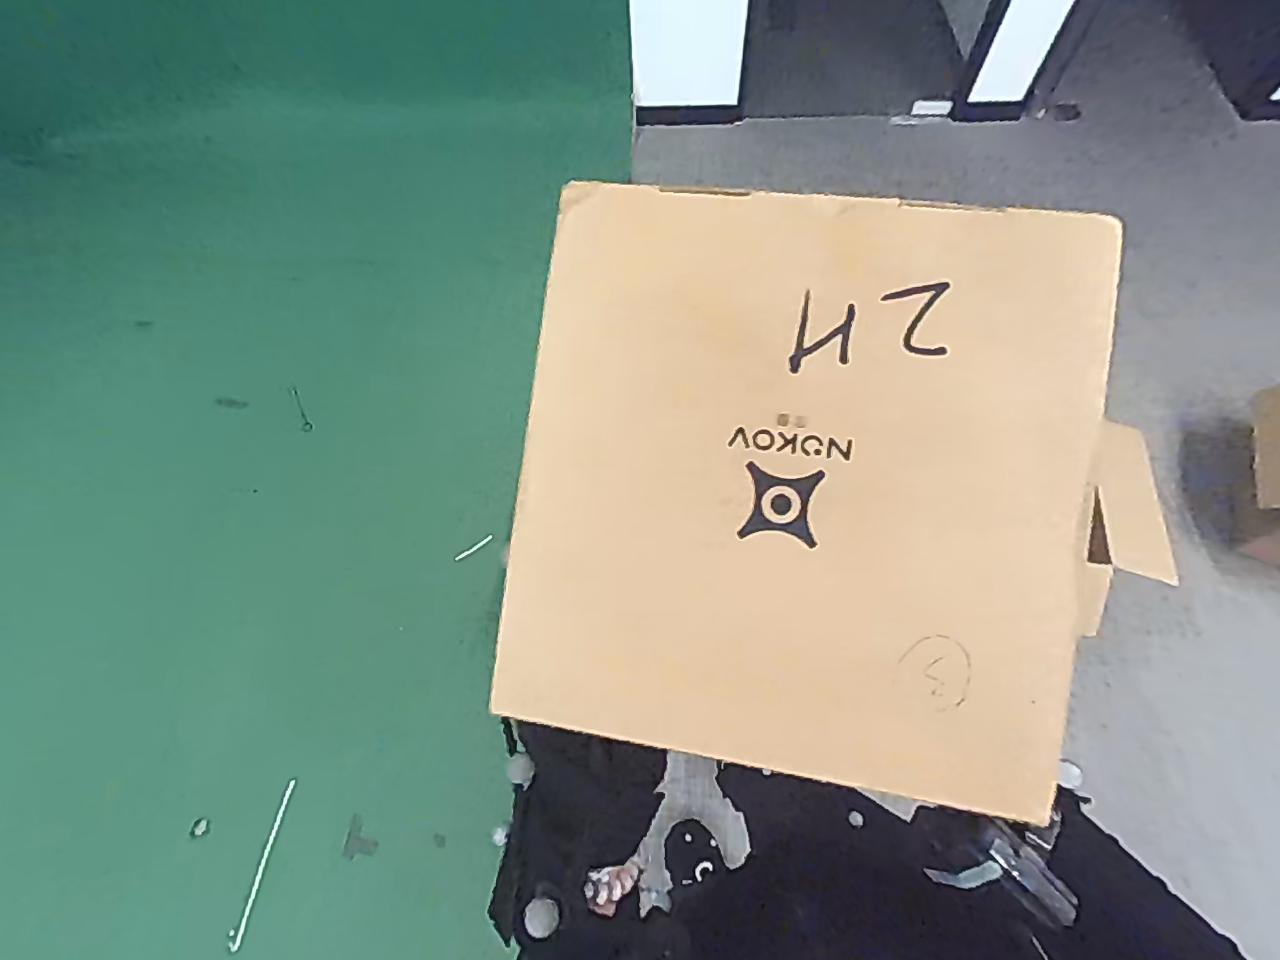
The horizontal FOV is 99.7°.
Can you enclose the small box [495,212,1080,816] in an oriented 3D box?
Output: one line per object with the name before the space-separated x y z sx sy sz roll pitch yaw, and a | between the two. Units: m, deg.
small box | 0.052 0.007 0.251 0.168 0.176 0.179 7 88 8
